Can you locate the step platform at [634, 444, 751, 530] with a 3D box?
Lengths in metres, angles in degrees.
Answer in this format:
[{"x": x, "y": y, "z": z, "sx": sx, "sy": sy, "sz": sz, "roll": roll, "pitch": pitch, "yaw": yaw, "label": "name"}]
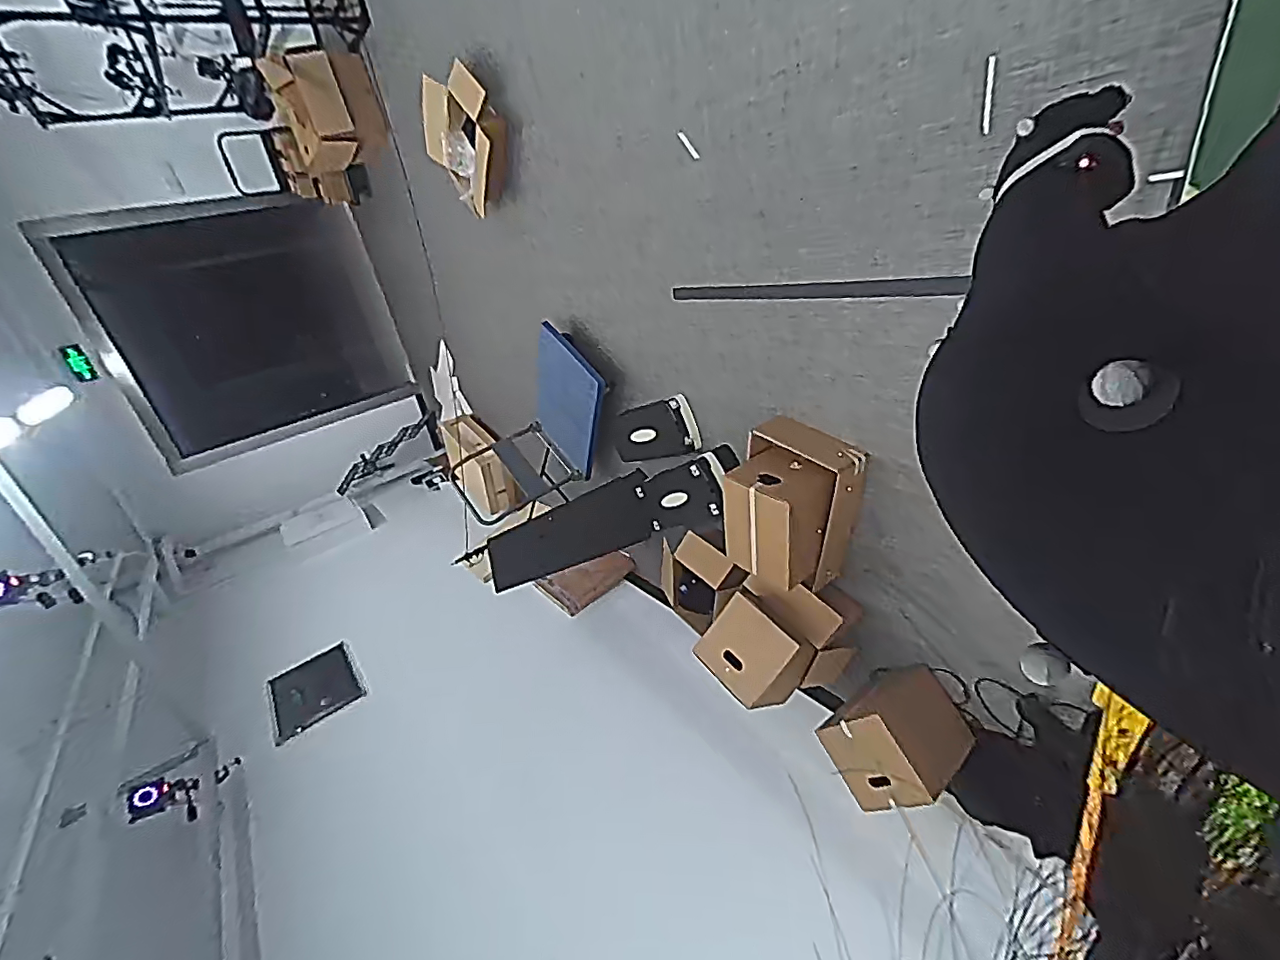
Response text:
[{"x": 0.232, "y": 0.054, "z": 2.691, "sx": 0.684, "sy": 0.204, "sz": 0.286, "roll": -25, "pitch": 92, "yaw": 60, "label": "step platform"}]
